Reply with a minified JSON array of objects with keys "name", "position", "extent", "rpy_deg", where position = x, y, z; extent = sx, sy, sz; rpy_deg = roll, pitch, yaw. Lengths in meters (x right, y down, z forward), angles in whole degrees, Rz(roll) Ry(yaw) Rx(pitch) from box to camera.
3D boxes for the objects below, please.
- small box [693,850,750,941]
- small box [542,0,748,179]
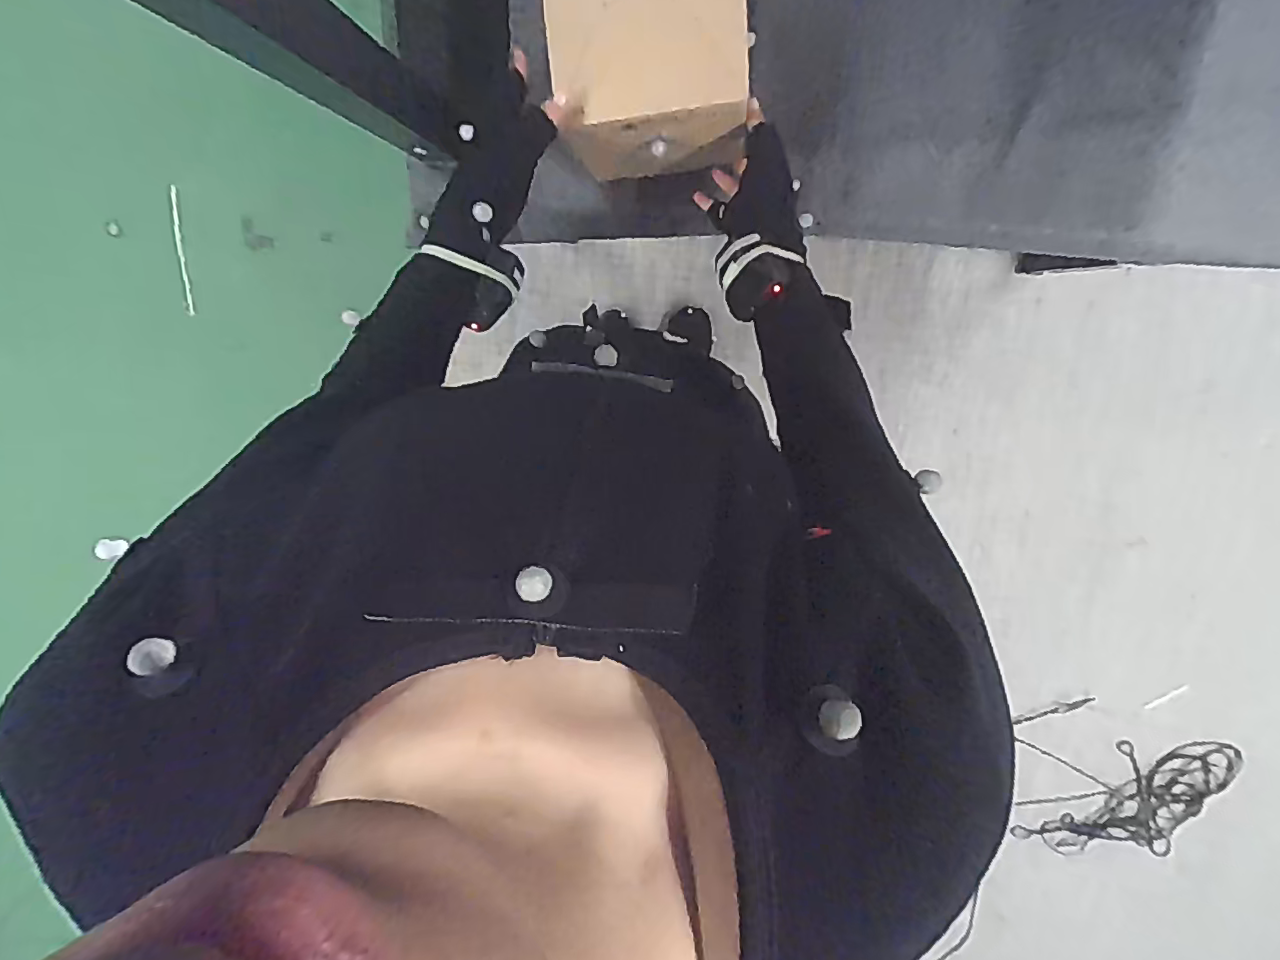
[{"name":"small box","position":[0.275,1.423,1.857],"extent":[0.168,0.176,0.179],"rpy_deg":[6,107,2]},{"name":"small box","position":[0.012,-0.411,0.508],"extent":[0.168,0.176,0.179],"rpy_deg":[-3,104,9]}]
